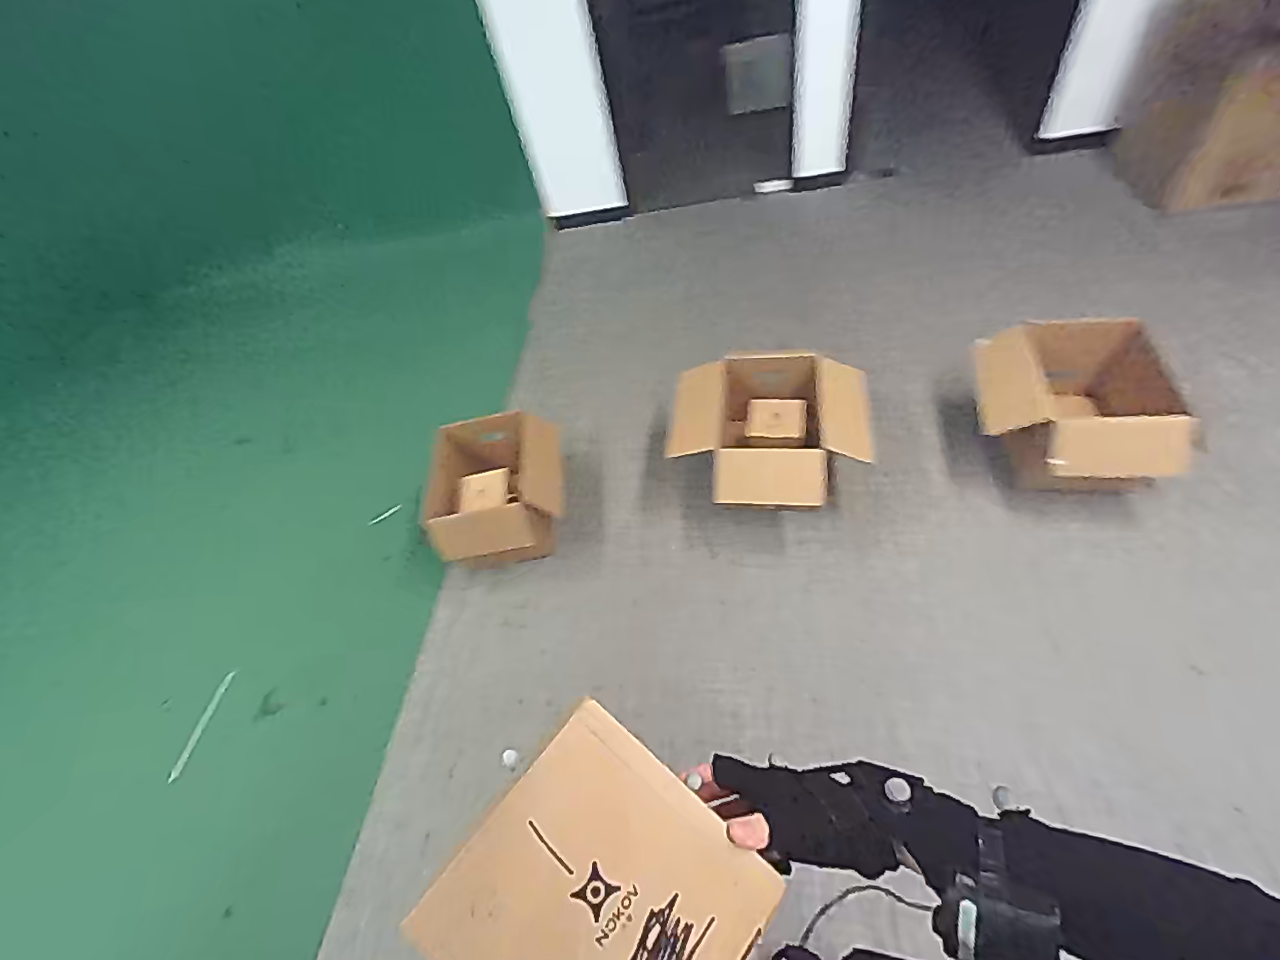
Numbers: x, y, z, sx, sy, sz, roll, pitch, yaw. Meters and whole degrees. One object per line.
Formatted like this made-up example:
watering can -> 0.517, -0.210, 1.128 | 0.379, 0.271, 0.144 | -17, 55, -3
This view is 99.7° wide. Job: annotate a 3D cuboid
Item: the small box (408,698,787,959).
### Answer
small box -> -0.031, 0.284, 0.403 | 0.179, 0.176, 0.168 | 42, 69, 9
